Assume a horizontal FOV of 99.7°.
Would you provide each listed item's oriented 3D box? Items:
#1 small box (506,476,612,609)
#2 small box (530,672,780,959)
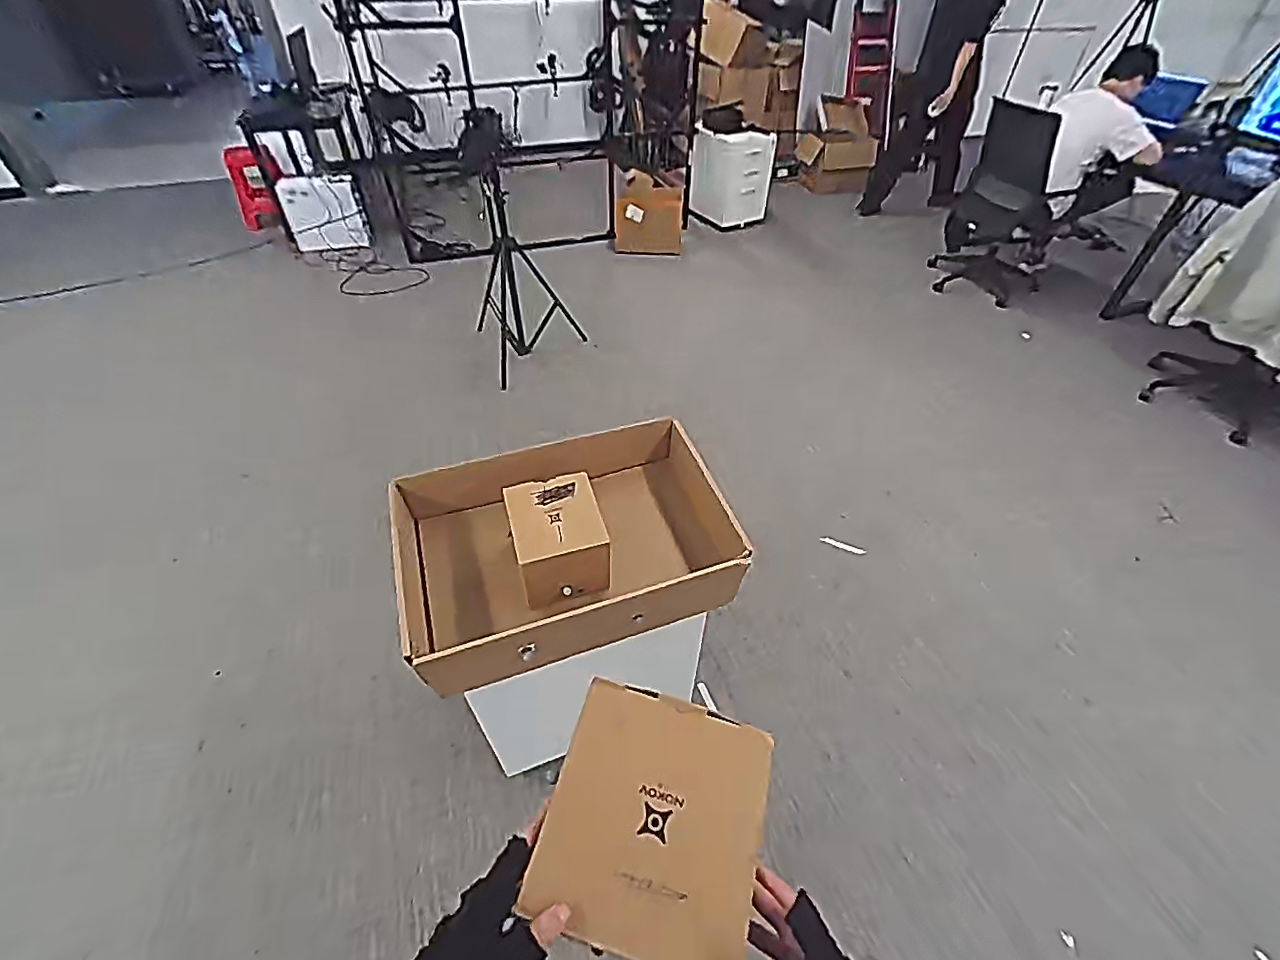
[{"bbox_3d":[-0.158,0.122,1.054,0.168,0.176,0.179,-13,52,-14],"label":"small box"},{"bbox_3d":[0.015,0.303,0.489,0.168,0.176,0.179,15,56,6],"label":"small box"}]
